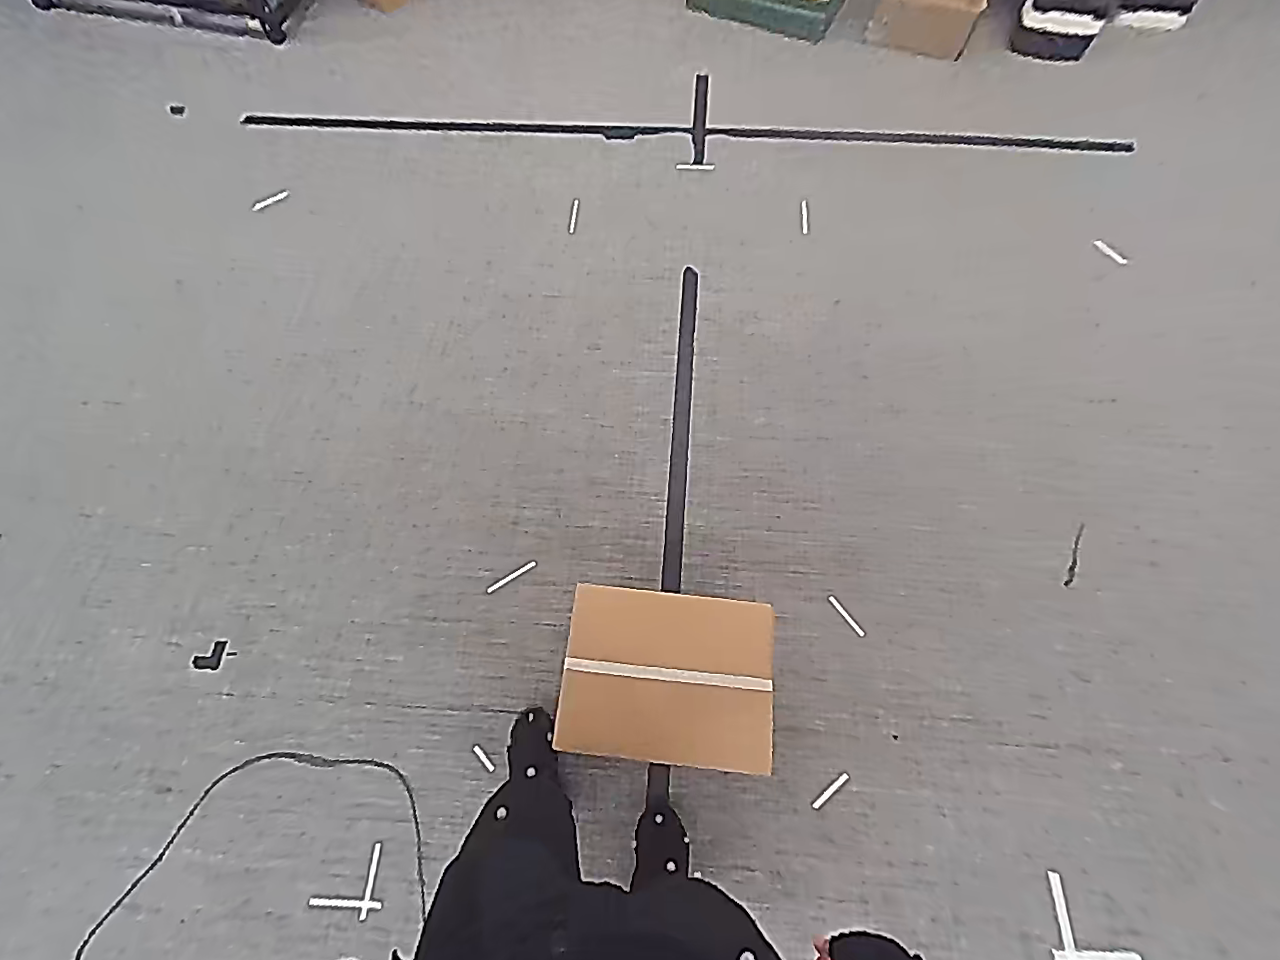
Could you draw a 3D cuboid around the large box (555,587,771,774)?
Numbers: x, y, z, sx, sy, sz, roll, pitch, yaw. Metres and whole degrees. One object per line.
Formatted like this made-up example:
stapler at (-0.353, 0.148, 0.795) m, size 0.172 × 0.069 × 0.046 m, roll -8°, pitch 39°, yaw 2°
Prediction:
large box at (0.055, 0.429, 1.181) m, size 0.408 × 0.320 × 0.320 m, roll 6°, pitch 68°, yaw 2°
